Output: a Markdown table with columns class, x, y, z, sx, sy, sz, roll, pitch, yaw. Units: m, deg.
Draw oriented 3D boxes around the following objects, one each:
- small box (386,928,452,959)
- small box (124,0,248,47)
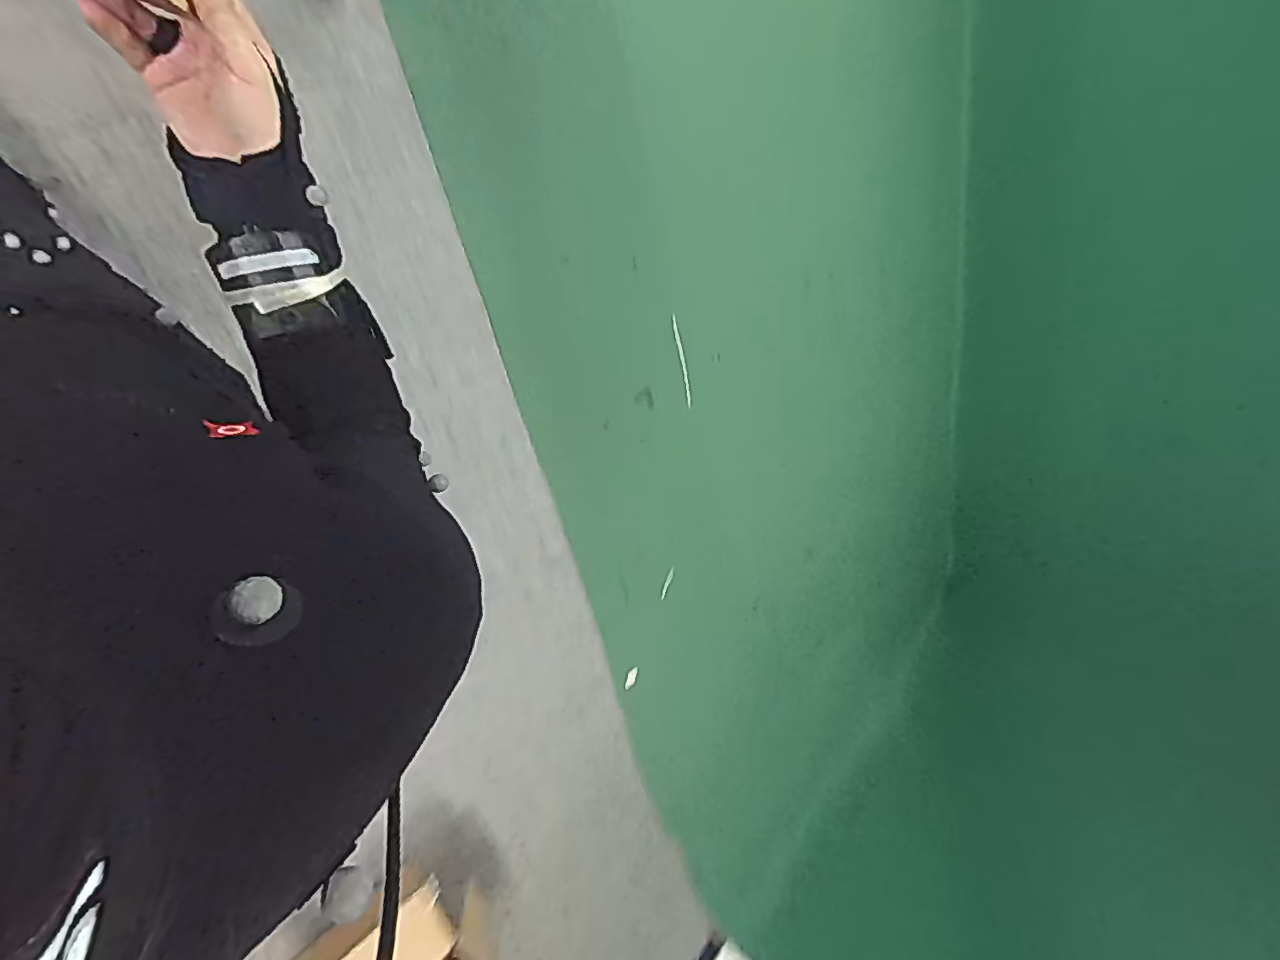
| class | x | y | z | sx | sy | sz | roll | pitch | yaw |
| --- | --- | --- | --- | --- | --- | --- | --- | --- | --- |
| small box | -0.542 | 1.276 | 1.337 | 0.168 | 0.176 | 0.179 | -30 | 117 | -33 |
| small box | -0.262 | -0.309 | 0.189 | 0.176 | 0.179 | 0.168 | 16 | 110 | -17 |
